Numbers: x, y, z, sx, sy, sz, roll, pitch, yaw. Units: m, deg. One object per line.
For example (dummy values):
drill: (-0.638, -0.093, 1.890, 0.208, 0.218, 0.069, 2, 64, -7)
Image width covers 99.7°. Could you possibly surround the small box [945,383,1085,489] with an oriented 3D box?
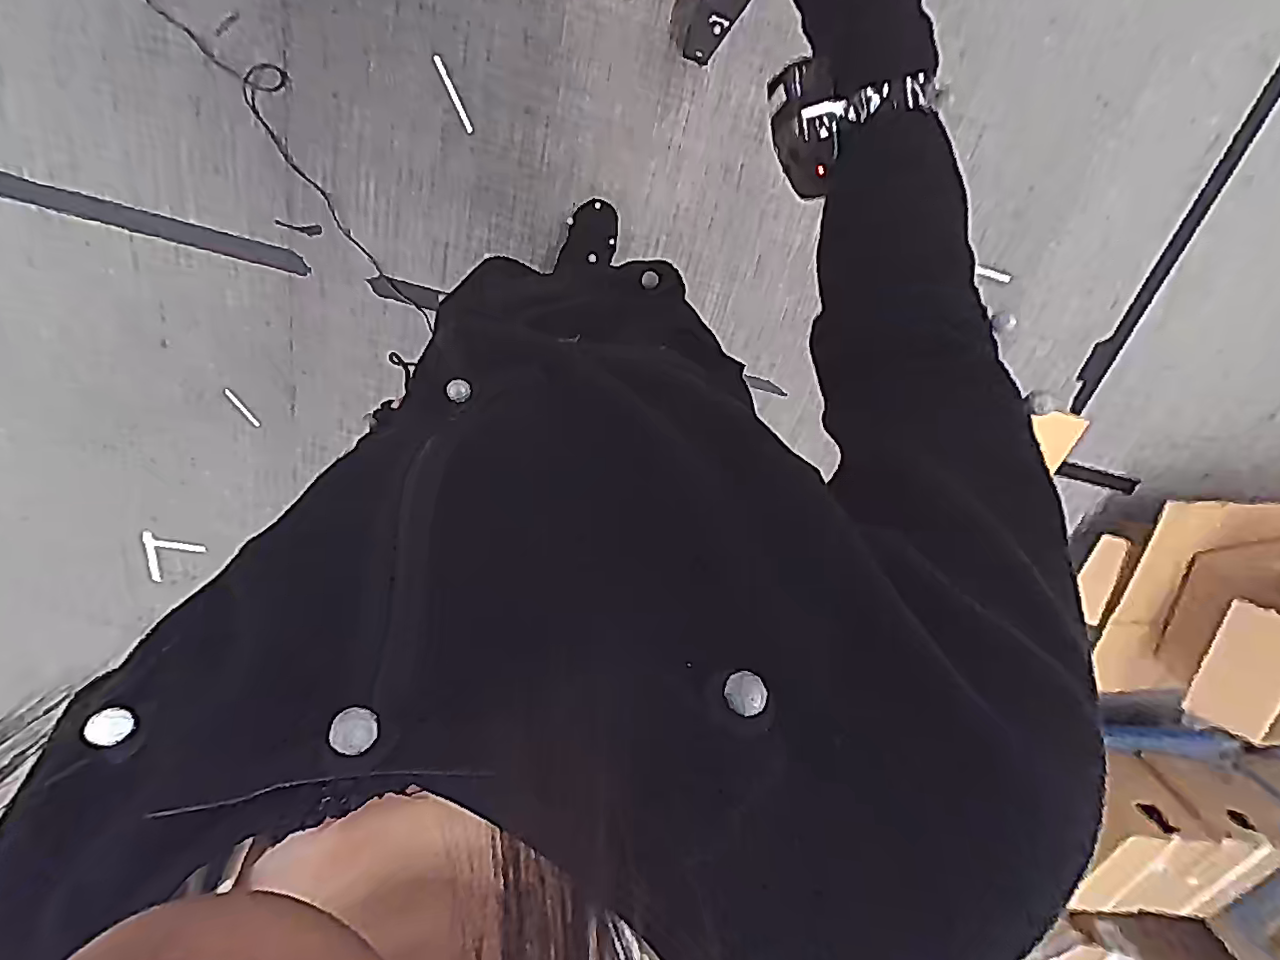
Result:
small box: (0.852, -0.107, 1.252, 0.168, 0.176, 0.179, 12, 117, -10)
